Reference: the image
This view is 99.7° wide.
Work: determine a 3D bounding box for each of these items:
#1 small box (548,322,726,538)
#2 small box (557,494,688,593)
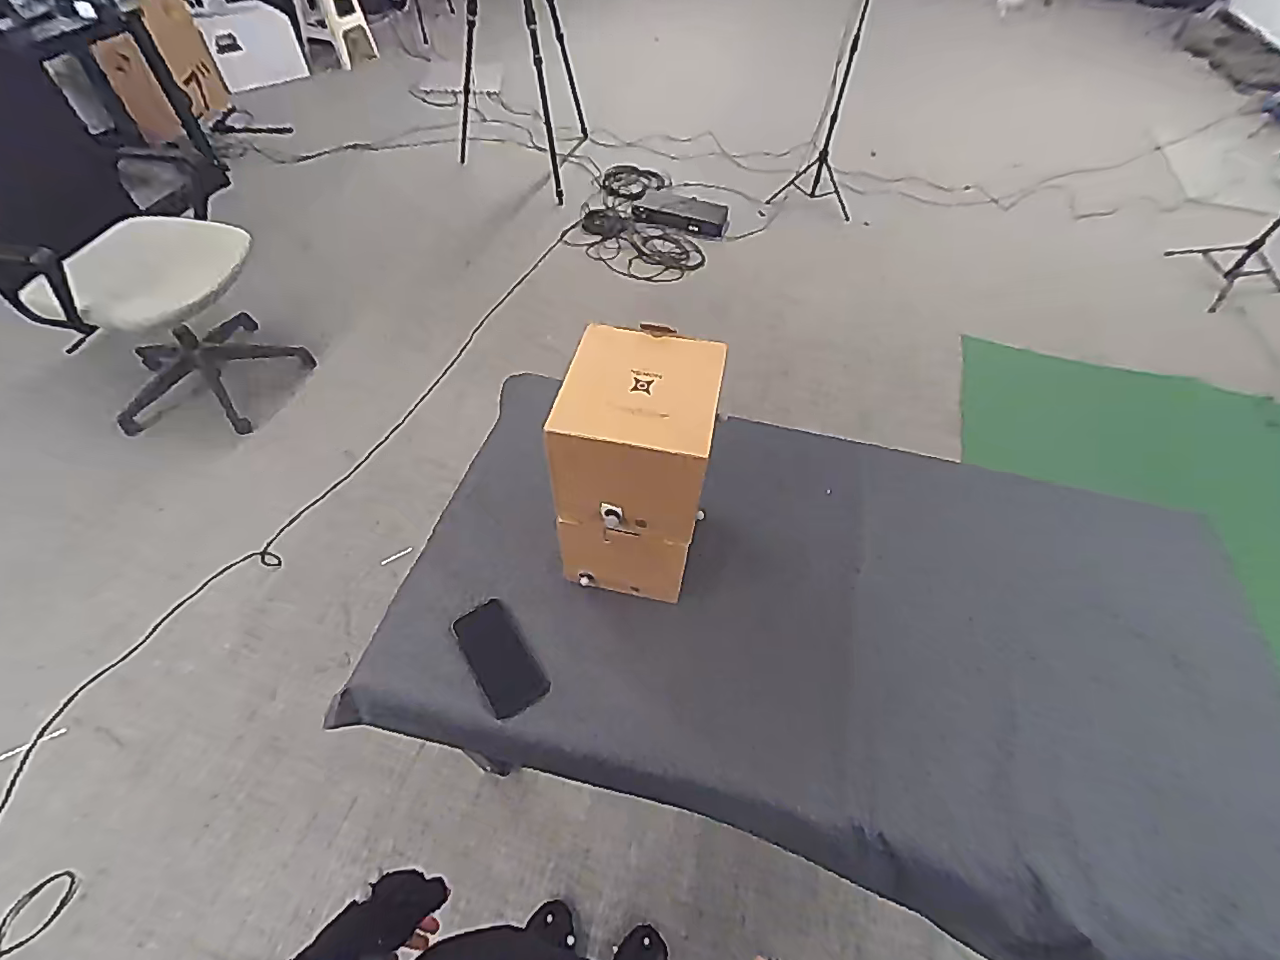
[{"bbox_3d":[0.000,-0.056,0.642,0.168,0.176,0.179,10,55,5],"label":"small box"},{"bbox_3d":[-0.009,0.040,0.772,0.168,0.176,0.179,11,53,5],"label":"small box"}]
